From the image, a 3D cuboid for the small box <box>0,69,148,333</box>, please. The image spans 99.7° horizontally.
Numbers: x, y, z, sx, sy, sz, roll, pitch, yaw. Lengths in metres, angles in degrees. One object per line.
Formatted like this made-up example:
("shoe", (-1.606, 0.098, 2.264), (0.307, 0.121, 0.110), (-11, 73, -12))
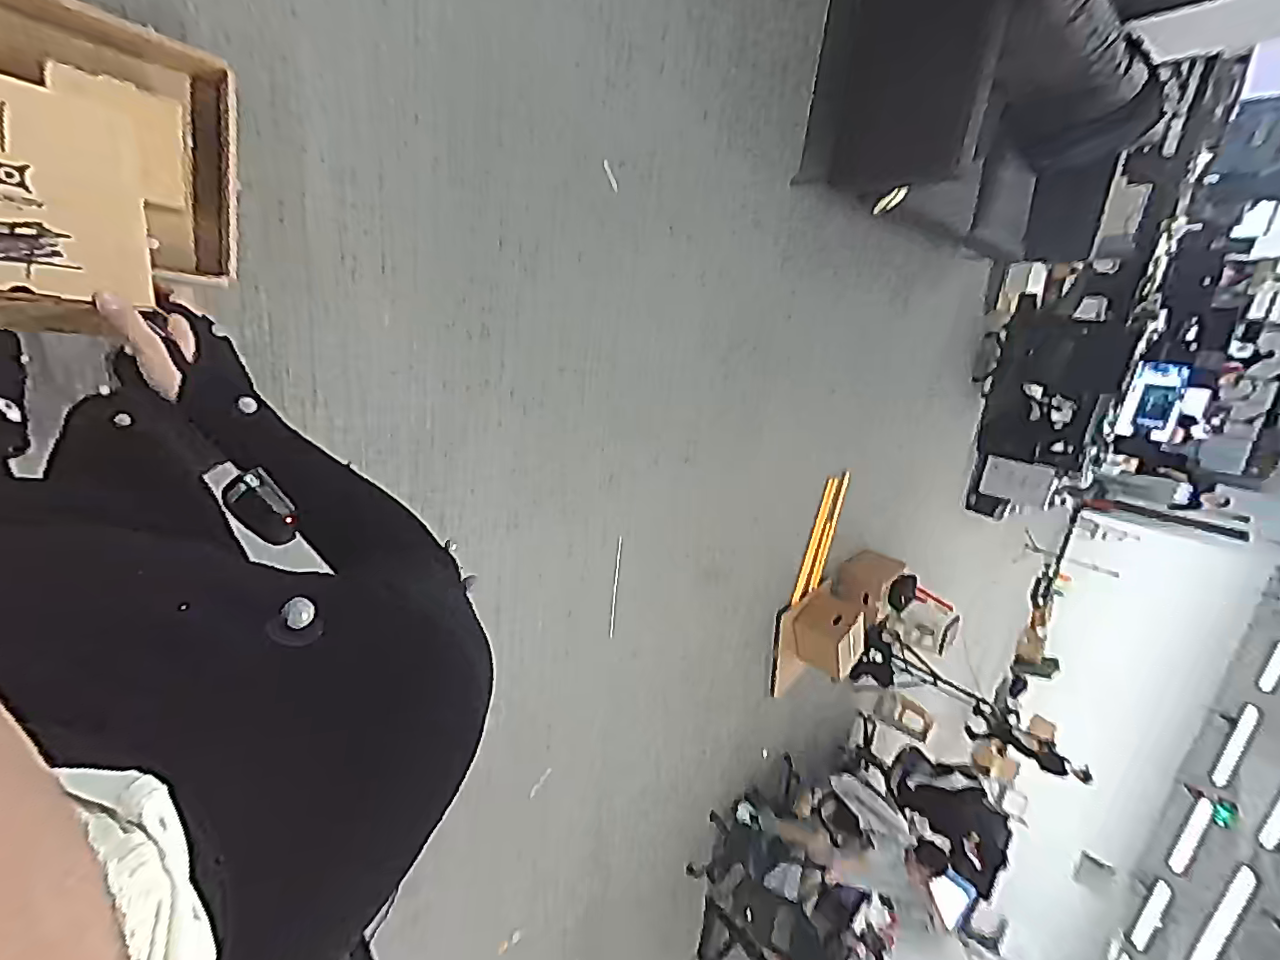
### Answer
("small box", (-0.558, -0.233, 0.472), (0.168, 0.176, 0.179), (-9, 97, -49))
